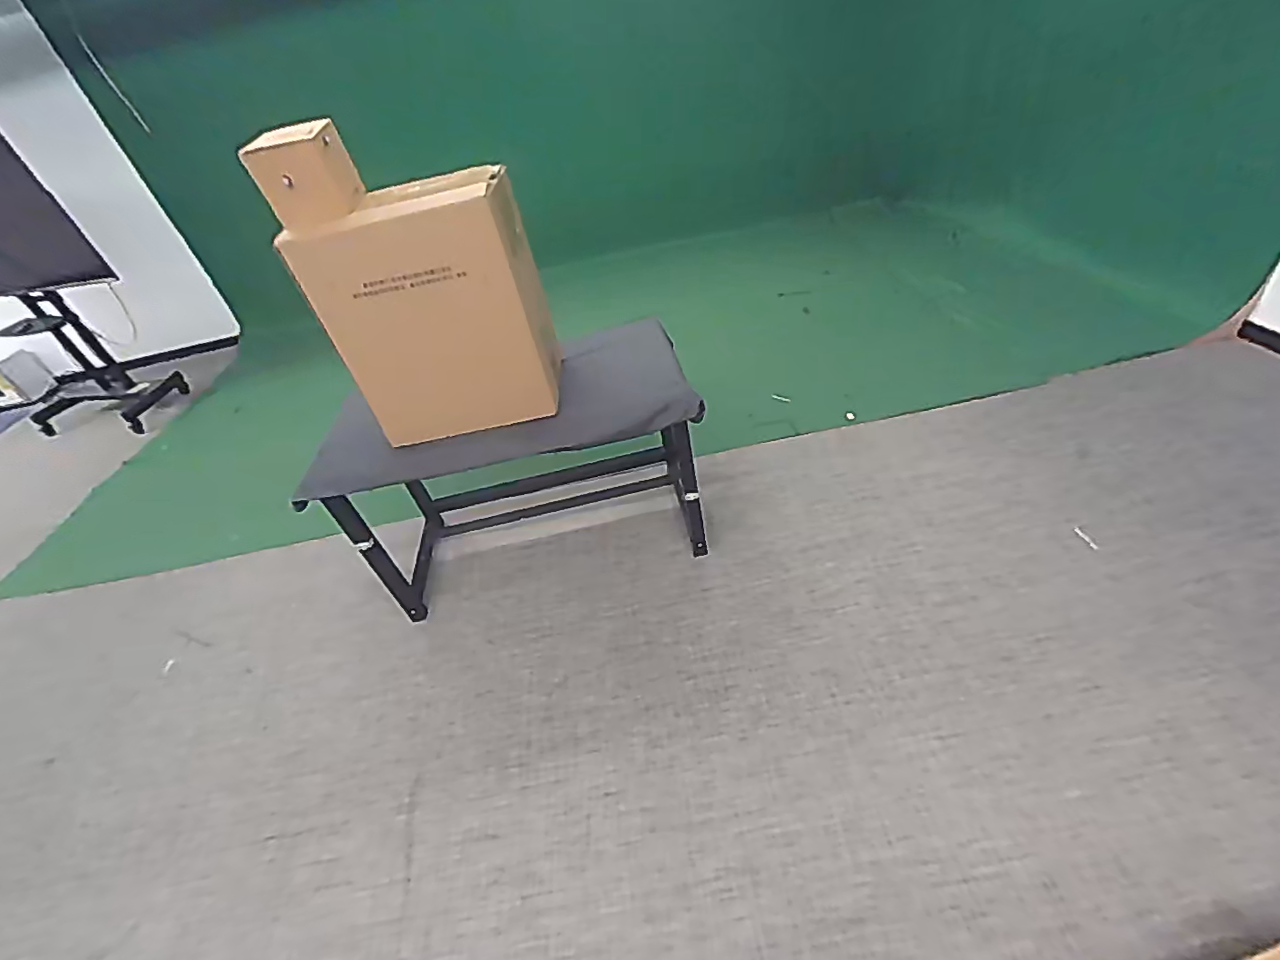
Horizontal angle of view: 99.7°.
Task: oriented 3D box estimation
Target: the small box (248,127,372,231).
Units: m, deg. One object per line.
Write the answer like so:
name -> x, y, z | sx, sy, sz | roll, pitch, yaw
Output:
small box -> -0.808, -0.743, 1.342 | 0.179, 0.176, 0.168 | -11, 47, 3
